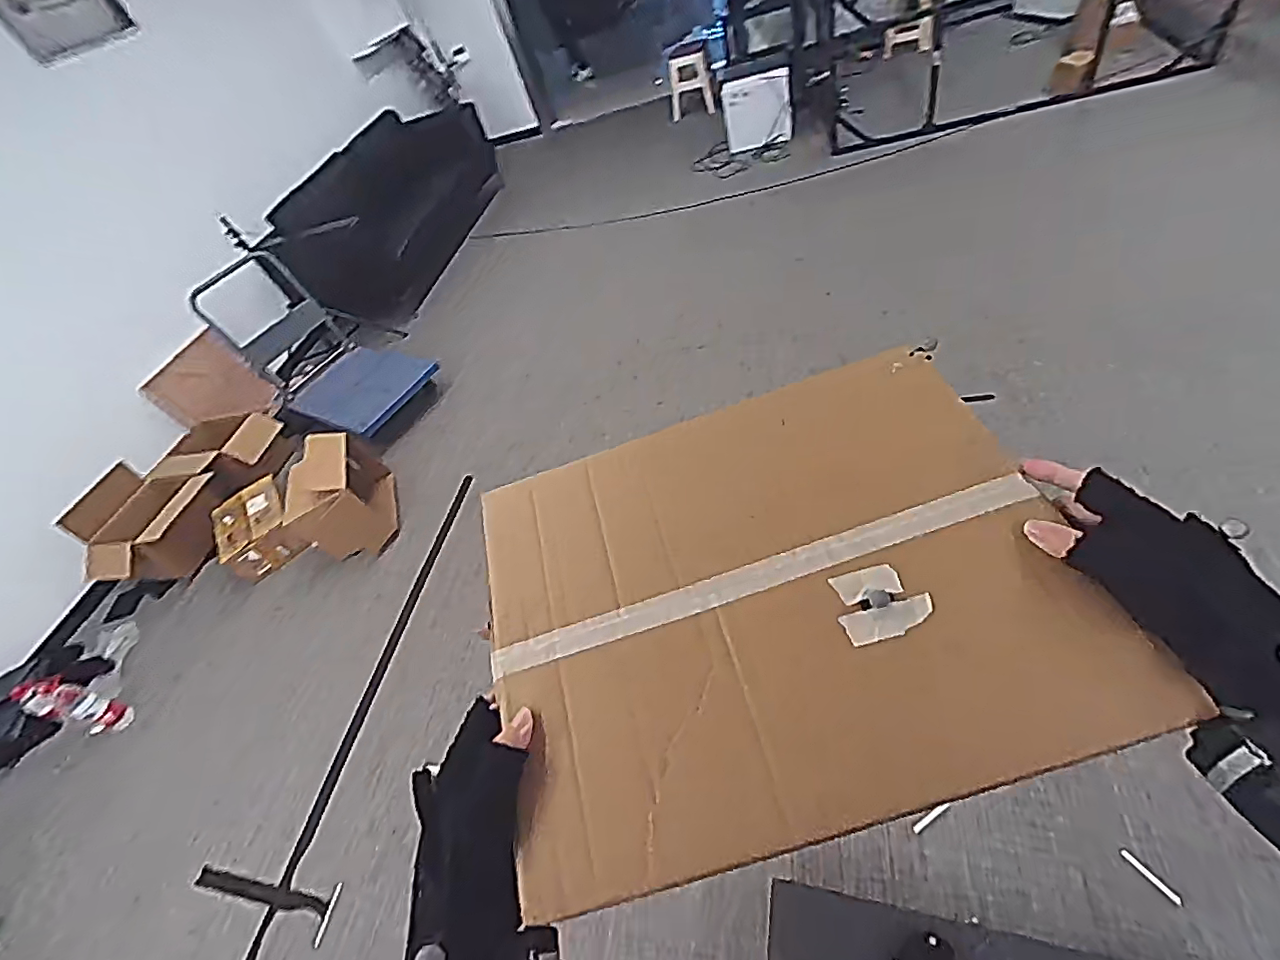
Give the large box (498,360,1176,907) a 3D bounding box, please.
[{"bbox_3d":[0.123,0.155,0.527,0.408,0.320,0.320,-19,56,2],"label":"large box"}]
